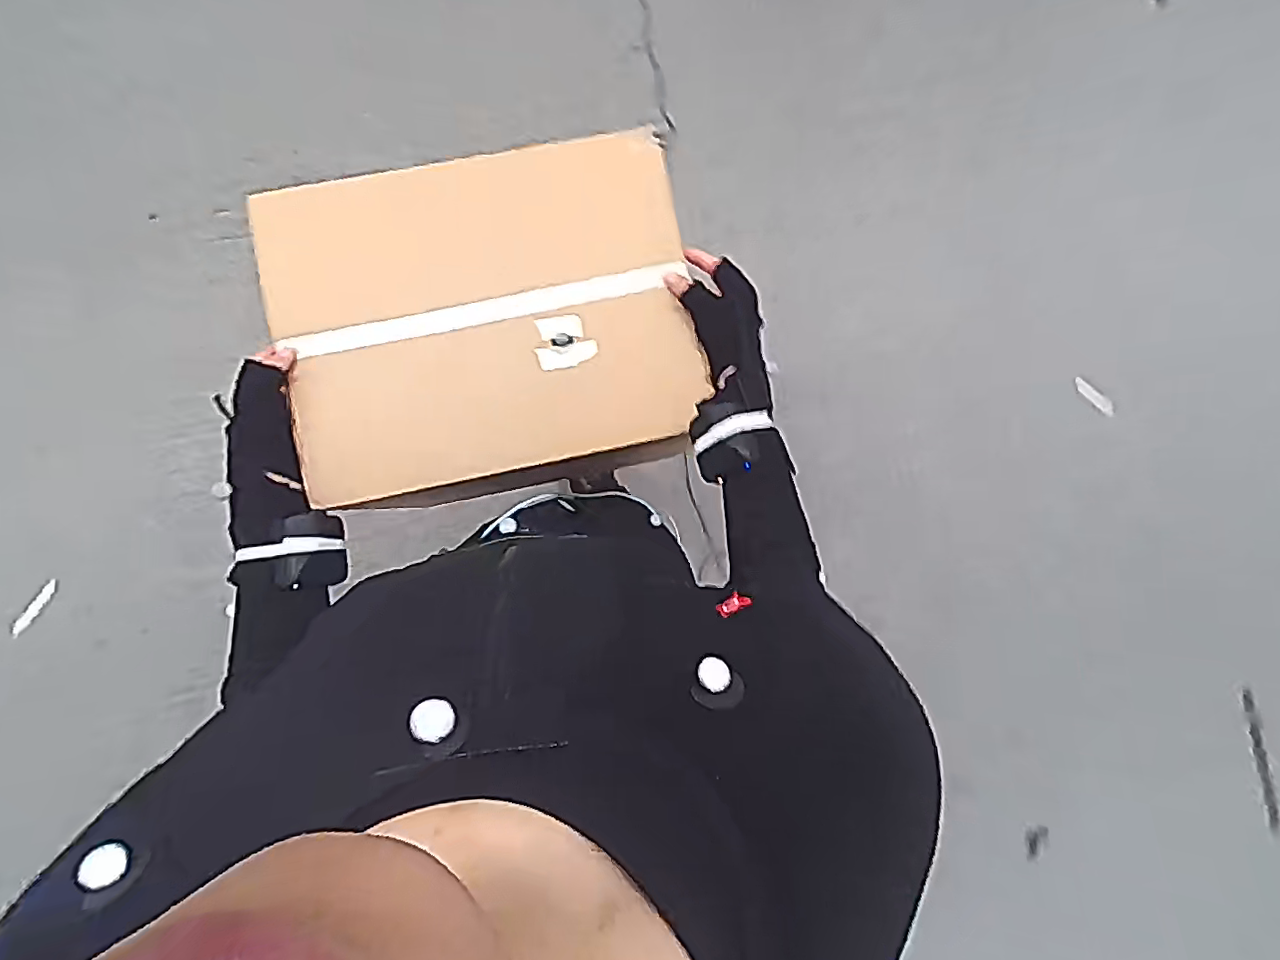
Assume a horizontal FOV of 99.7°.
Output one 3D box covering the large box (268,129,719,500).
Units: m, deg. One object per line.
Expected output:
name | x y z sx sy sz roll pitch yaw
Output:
large box | -0.155 -0.168 0.691 0.408 0.320 0.320 -12 89 -5
